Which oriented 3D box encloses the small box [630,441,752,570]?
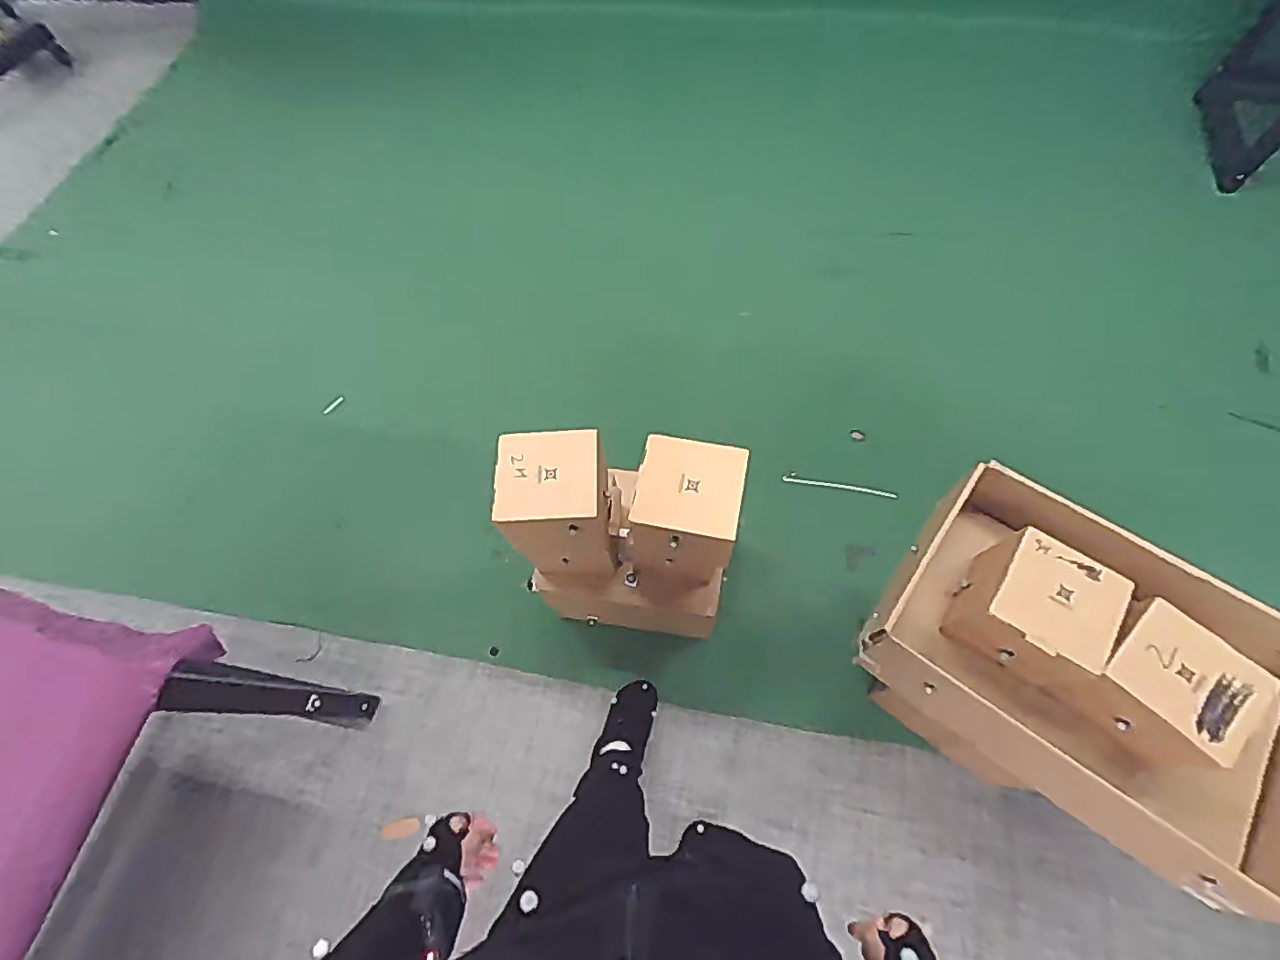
[{"bbox_3d":[0.093,0.052,0.959,0.179,0.176,0.168,9,66,10],"label":"small box"}]
